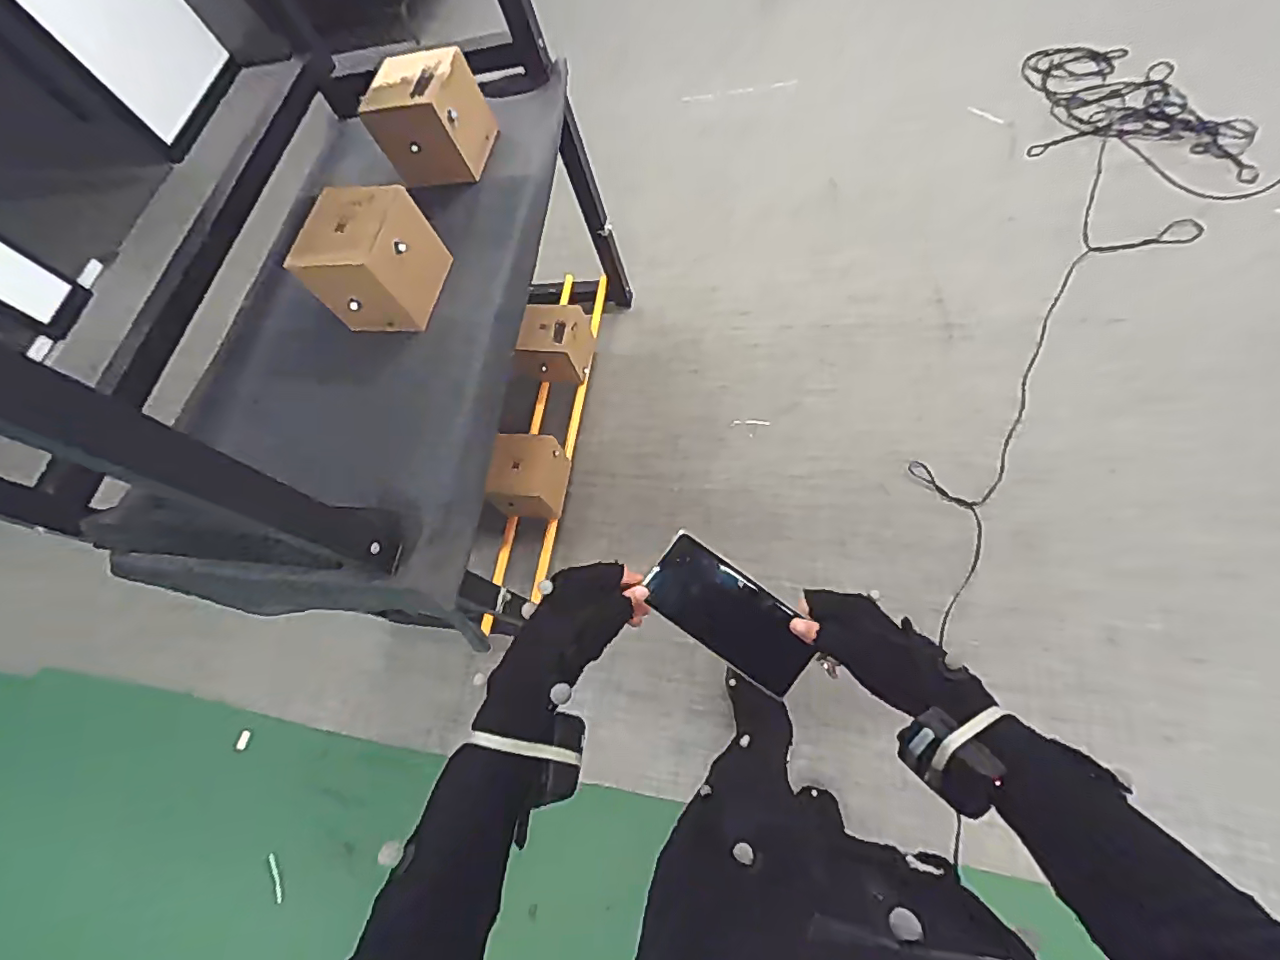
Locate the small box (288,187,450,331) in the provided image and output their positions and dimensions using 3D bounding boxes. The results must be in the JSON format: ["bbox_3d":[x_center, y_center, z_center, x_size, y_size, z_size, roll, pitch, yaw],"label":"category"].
[{"bbox_3d":[-0.469,-0.385,0.966,0.168,0.176,0.179,5,68,15],"label":"small box"}]

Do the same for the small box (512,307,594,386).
[{"bbox_3d":[-0.252,-0.395,1.618,0.179,0.176,0.168,6,67,15],"label":"small box"}]
